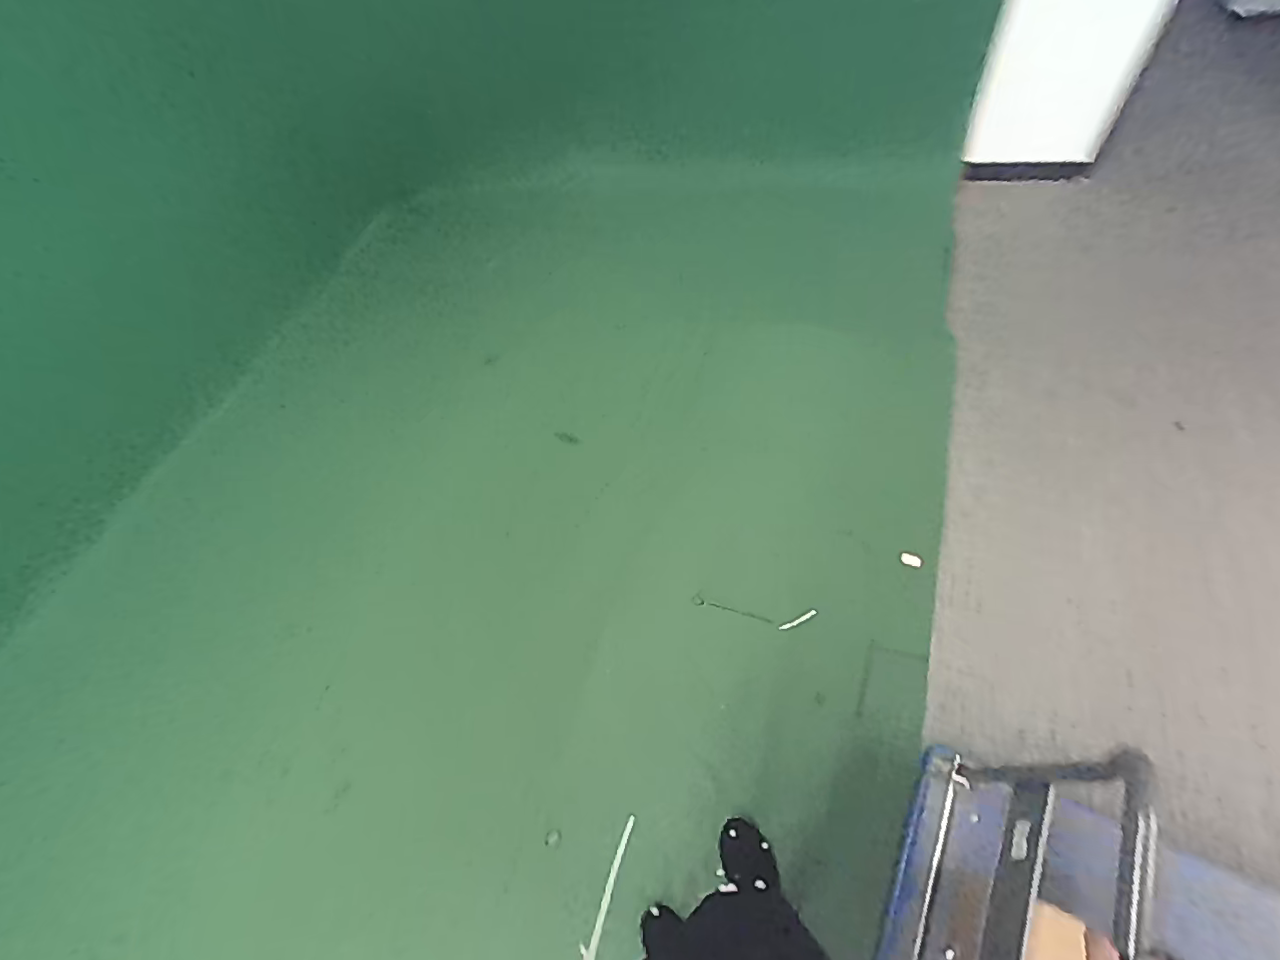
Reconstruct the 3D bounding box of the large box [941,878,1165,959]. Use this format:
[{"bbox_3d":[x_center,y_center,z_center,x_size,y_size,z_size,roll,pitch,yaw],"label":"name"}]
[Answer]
[{"bbox_3d":[0.709,0.880,0.817,0.408,0.320,0.320,18,65,21],"label":"large box"}]
